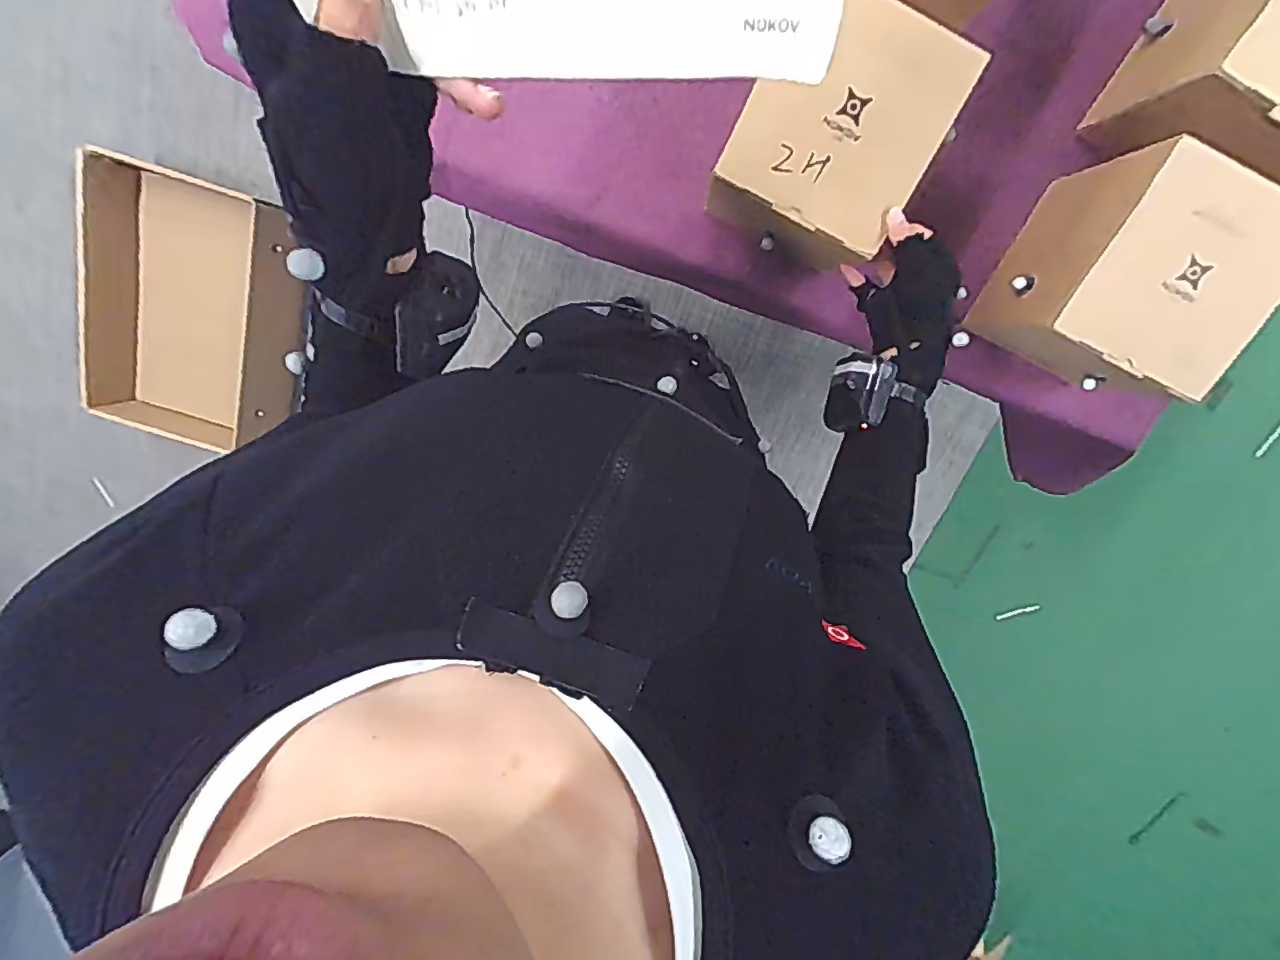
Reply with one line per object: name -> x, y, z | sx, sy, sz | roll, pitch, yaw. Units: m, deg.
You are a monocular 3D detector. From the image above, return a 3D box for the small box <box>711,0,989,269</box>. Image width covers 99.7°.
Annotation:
small box -> 0.180, -0.331, 0.533 | 0.168, 0.176, 0.179 | 26, 106, -4

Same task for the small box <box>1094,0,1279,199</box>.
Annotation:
small box -> 0.574, -0.387, 0.490 | 0.168, 0.176, 0.179 | 28, 108, -5
